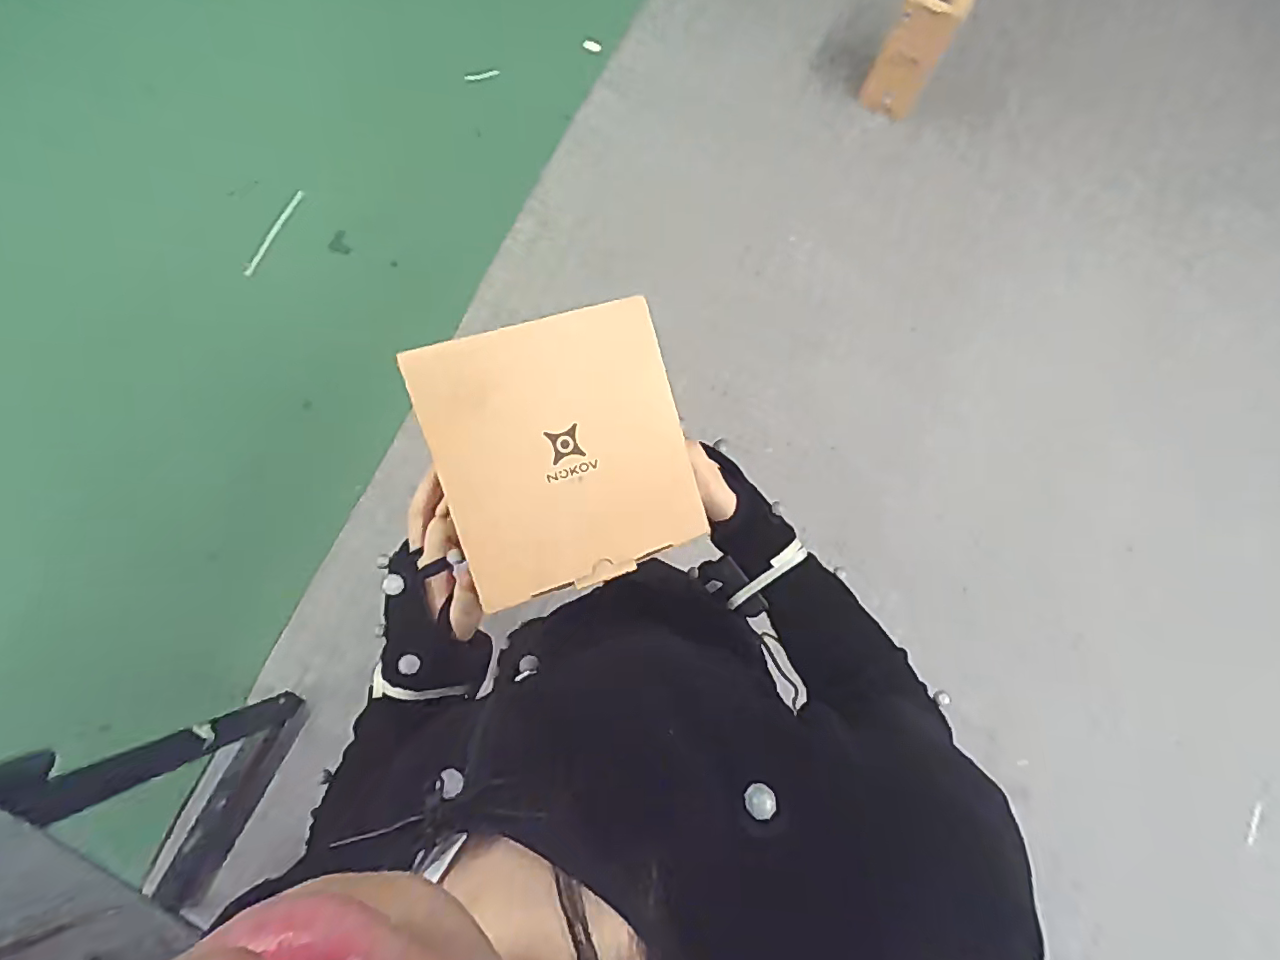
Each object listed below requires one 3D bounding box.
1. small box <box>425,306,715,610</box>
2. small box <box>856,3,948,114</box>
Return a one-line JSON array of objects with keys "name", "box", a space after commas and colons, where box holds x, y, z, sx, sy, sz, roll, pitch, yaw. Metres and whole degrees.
[{"name": "small box", "box": [-0.063, -0.022, 0.445, 0.168, 0.176, 0.179, -18, 99, -14]}, {"name": "small box", "box": [0.789, -1.278, 1.649, 0.168, 0.176, 0.179, 26, 83, 4]}]
